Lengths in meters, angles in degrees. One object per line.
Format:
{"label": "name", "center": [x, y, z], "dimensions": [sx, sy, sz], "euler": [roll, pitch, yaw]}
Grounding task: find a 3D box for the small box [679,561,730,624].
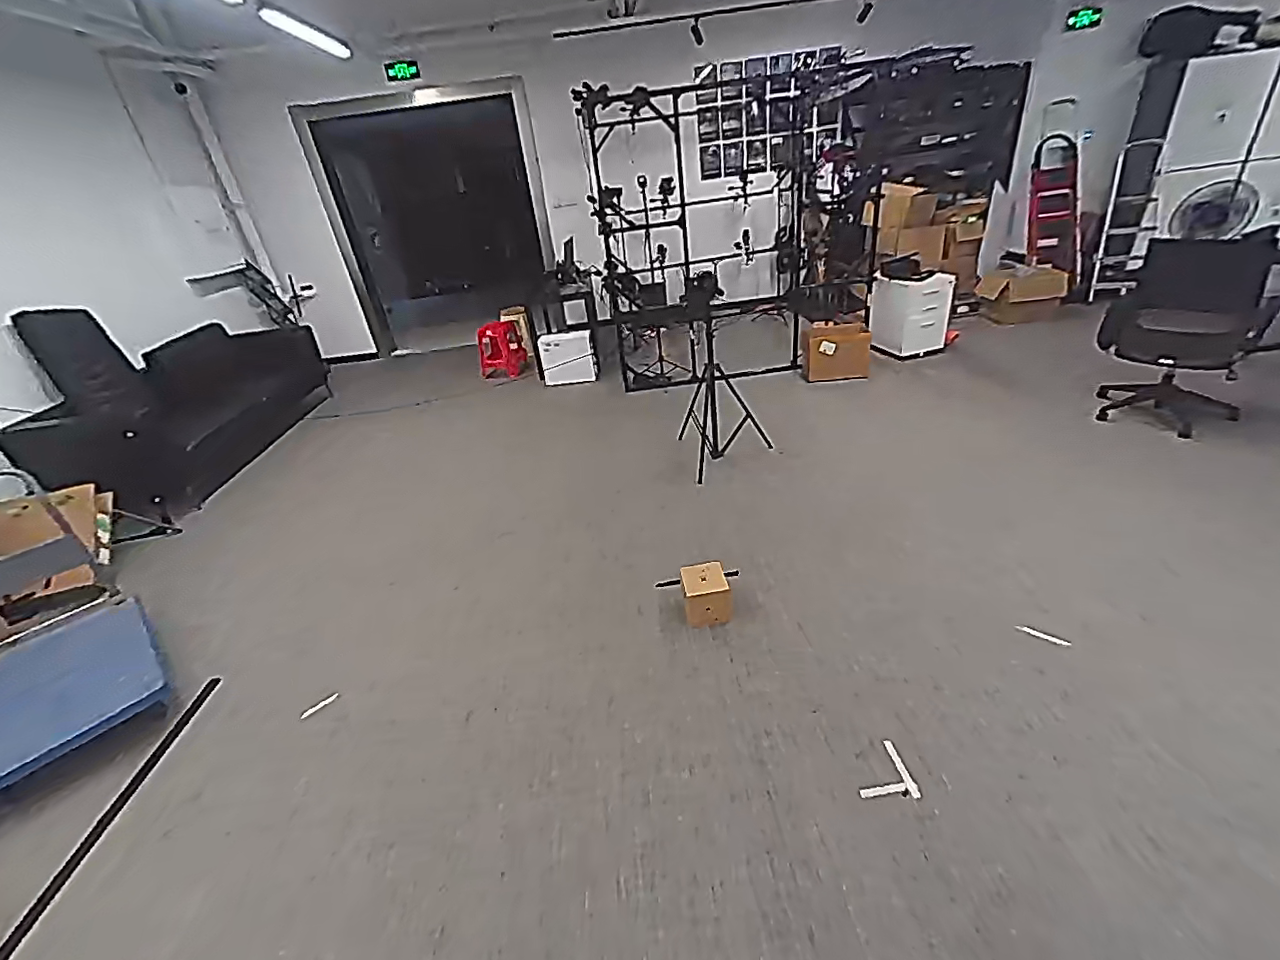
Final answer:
{"label": "small box", "center": [0.257, 0.451, 2.145], "dimensions": [0.168, 0.176, 0.179], "euler": [-9, 29, -2]}
